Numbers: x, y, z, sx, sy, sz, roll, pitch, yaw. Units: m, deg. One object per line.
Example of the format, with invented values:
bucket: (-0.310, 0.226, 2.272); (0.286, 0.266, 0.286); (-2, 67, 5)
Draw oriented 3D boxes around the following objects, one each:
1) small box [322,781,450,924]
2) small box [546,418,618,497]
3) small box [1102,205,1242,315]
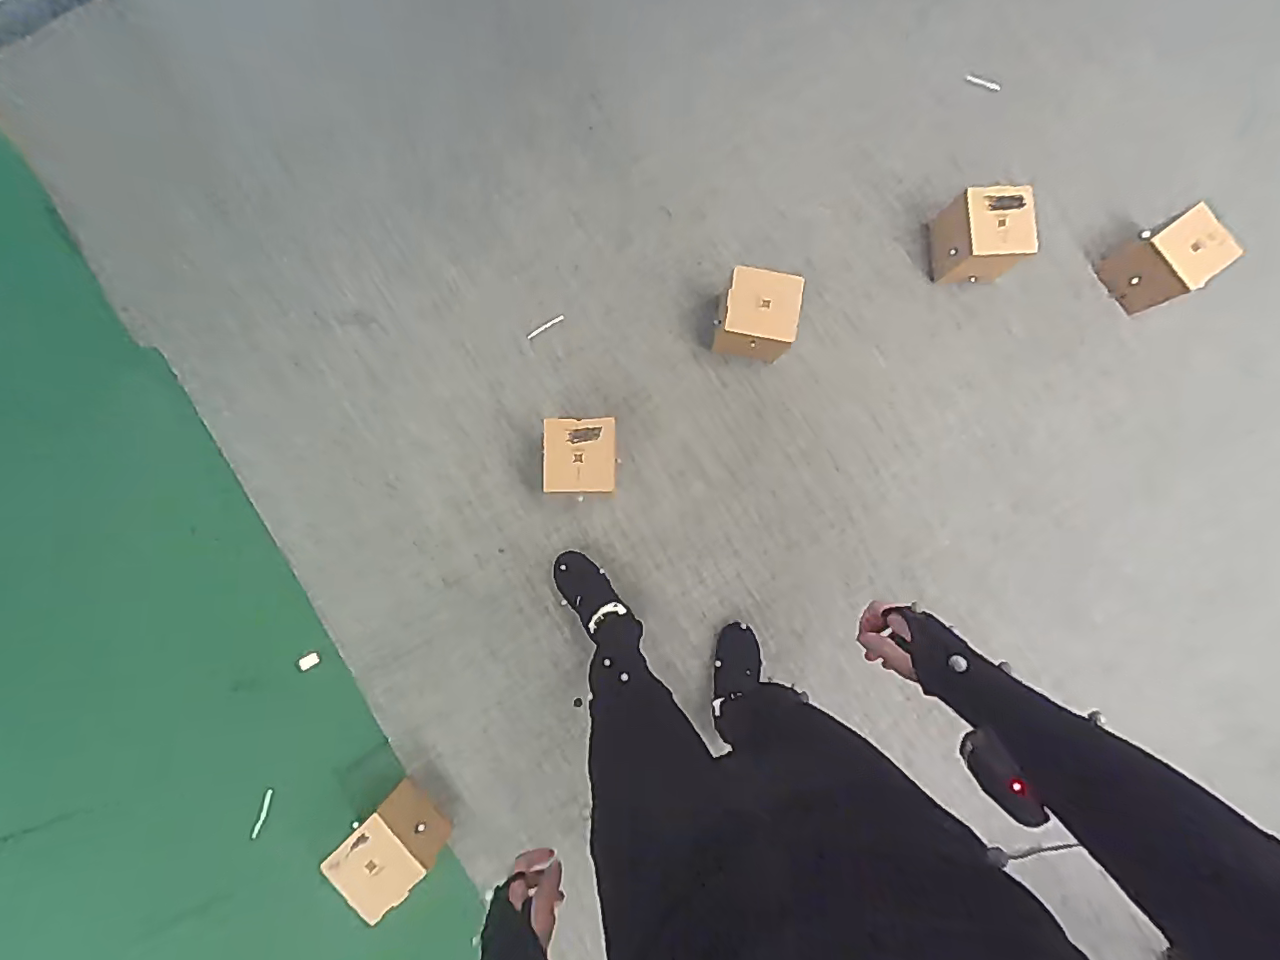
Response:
small box: (-0.572, 0.844, 1.248); (0.168, 0.176, 0.179); (-43, 88, -4)
small box: (-0.138, -0.051, 1.332); (0.168, 0.176, 0.179); (0, 86, -1)
small box: (1.370, -0.565, 1.413); (0.179, 0.176, 0.168); (-36, 88, -4)
